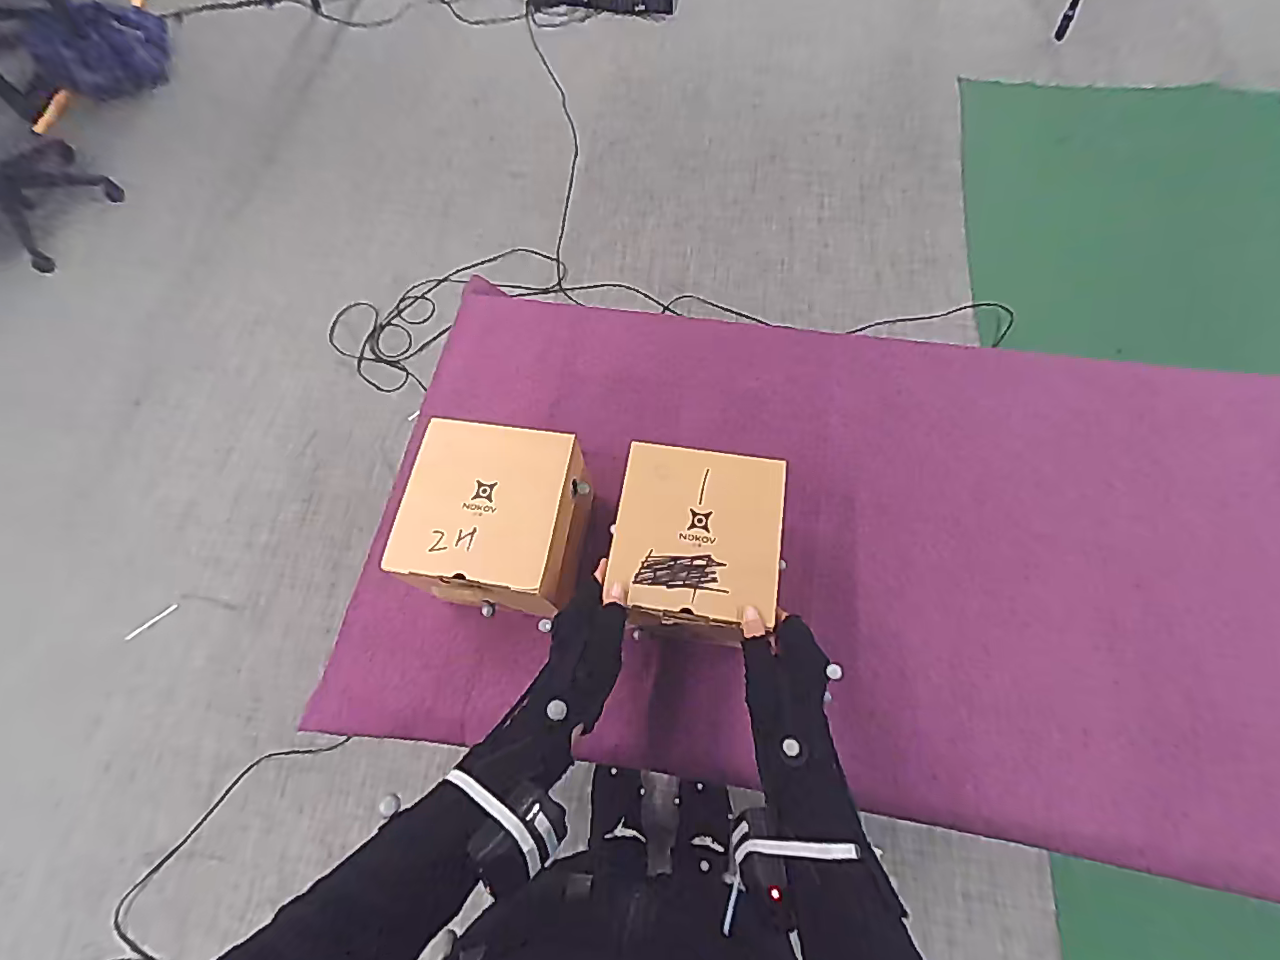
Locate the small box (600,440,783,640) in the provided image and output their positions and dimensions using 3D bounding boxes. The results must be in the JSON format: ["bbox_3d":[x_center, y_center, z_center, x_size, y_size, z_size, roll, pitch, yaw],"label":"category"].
[{"bbox_3d":[0.060,0.077,0.617,0.168,0.176,0.179,8,67,6],"label":"small box"}]

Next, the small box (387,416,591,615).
[{"bbox_3d":[-0.159,0.048,0.639,0.168,0.176,0.179,7,68,6],"label":"small box"}]
